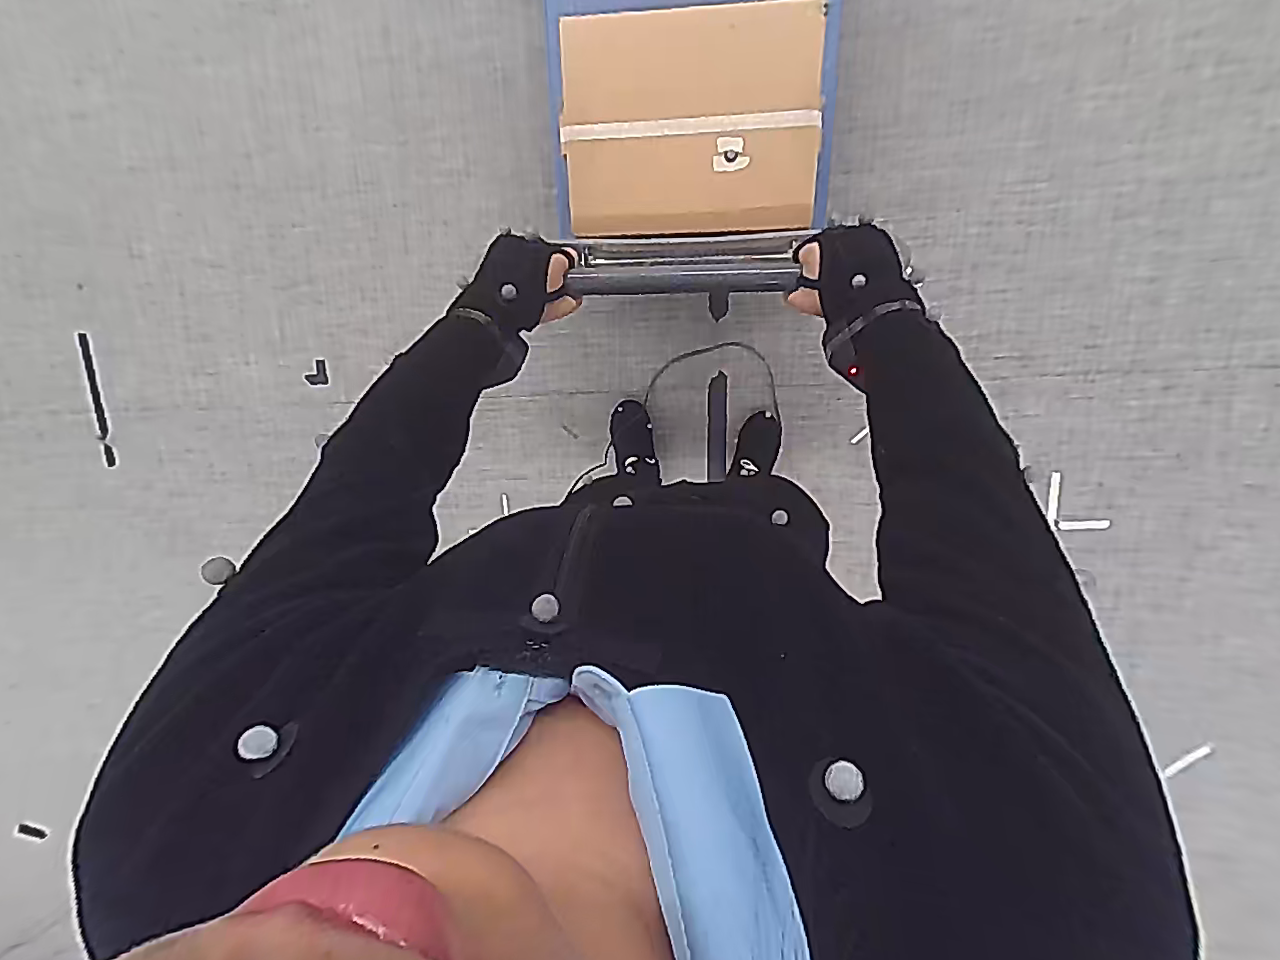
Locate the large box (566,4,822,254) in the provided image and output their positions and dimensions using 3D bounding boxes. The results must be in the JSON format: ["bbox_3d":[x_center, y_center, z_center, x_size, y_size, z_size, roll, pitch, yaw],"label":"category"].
[{"bbox_3d":[0.095,-0.616,1.020,0.408,0.320,0.320,0,108,5],"label":"large box"}]
